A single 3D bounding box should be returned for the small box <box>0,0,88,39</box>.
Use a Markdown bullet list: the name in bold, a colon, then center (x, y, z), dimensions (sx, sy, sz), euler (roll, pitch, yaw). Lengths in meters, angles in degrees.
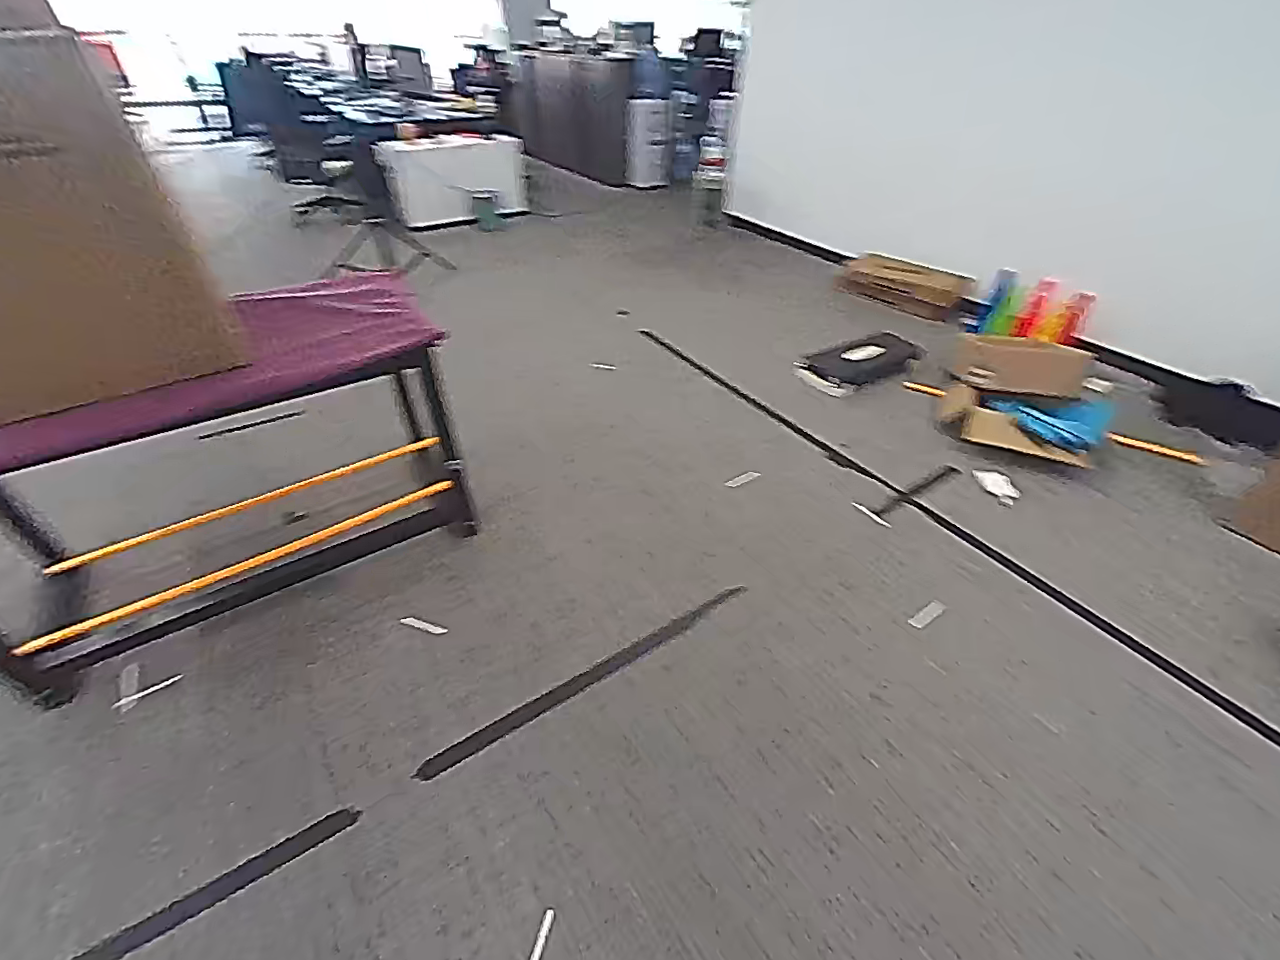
- **small box**: center (-1.183, -0.933, 1.004), dimensions (0.168, 0.176, 0.179), euler (-24, 46, -25)
